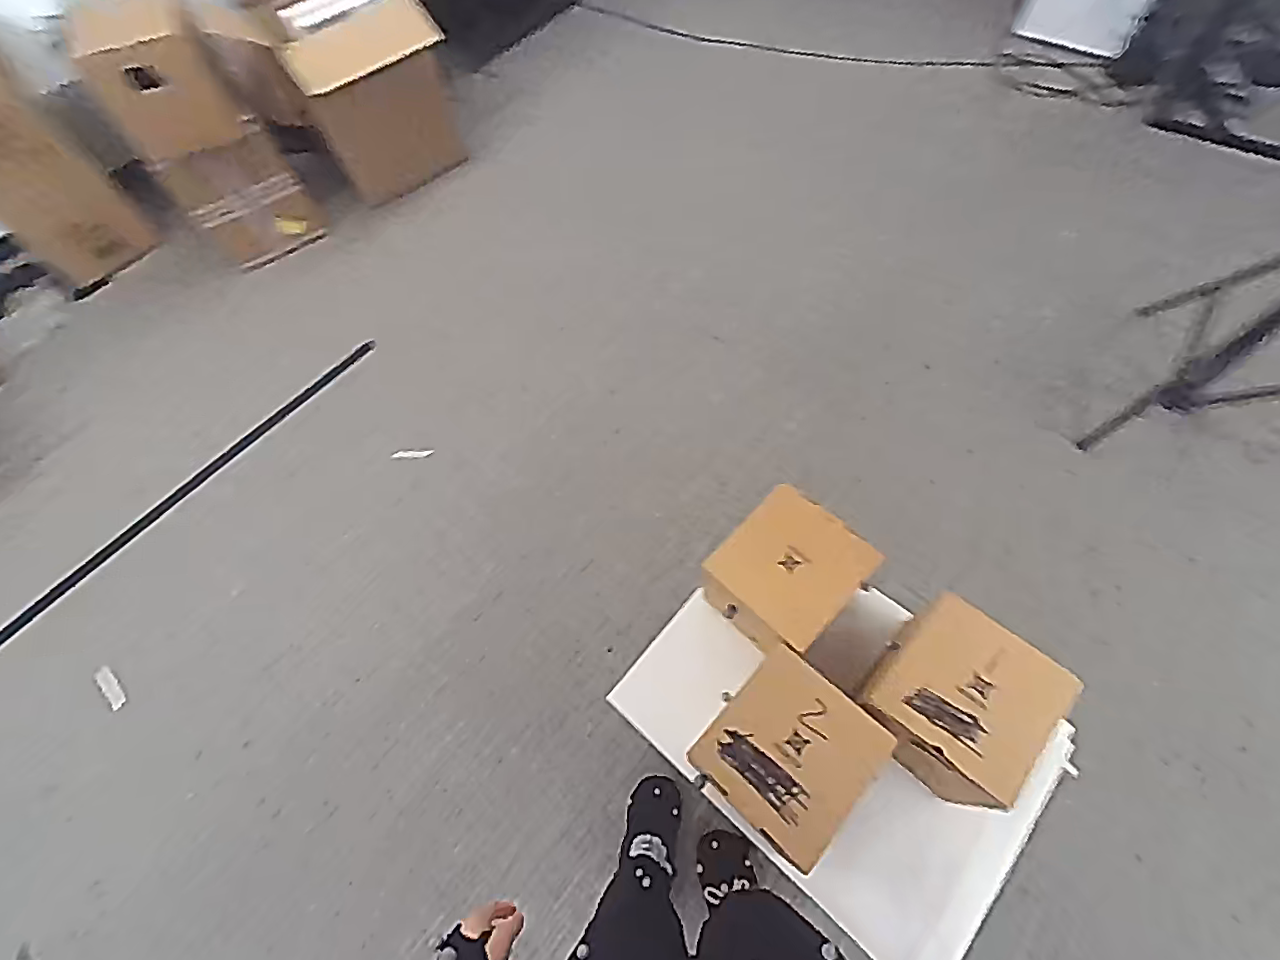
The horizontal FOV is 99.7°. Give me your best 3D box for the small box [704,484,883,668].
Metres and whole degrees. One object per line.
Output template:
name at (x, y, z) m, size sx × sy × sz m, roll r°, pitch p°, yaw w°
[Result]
small box at (0.211, 0.145, 0.781) m, size 0.179 × 0.176 × 0.168 m, roll -42°, pitch 66°, yaw -16°
